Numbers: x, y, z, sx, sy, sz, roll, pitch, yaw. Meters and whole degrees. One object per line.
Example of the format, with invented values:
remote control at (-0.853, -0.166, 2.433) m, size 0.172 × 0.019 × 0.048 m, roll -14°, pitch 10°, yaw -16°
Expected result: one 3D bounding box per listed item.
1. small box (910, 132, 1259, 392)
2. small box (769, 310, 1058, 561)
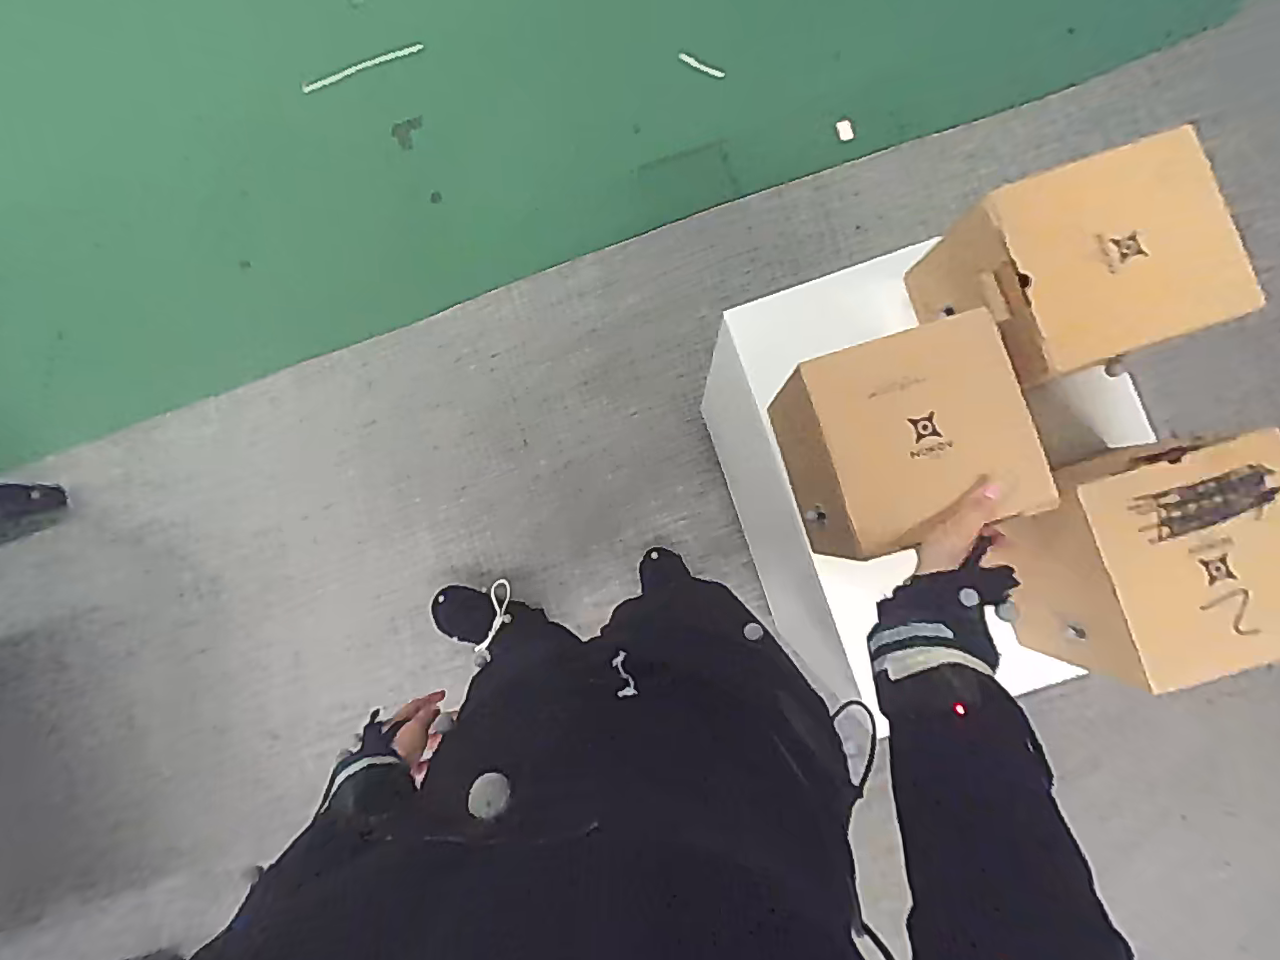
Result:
small box at (0.405, -0.185, 0.529) m, size 0.179 × 0.176 × 0.168 m, roll -18°, pitch 86°, yaw 3°
small box at (0.239, -0.030, 0.522) m, size 0.168 × 0.176 × 0.179 m, roll -17°, pitch 82°, yaw 2°
